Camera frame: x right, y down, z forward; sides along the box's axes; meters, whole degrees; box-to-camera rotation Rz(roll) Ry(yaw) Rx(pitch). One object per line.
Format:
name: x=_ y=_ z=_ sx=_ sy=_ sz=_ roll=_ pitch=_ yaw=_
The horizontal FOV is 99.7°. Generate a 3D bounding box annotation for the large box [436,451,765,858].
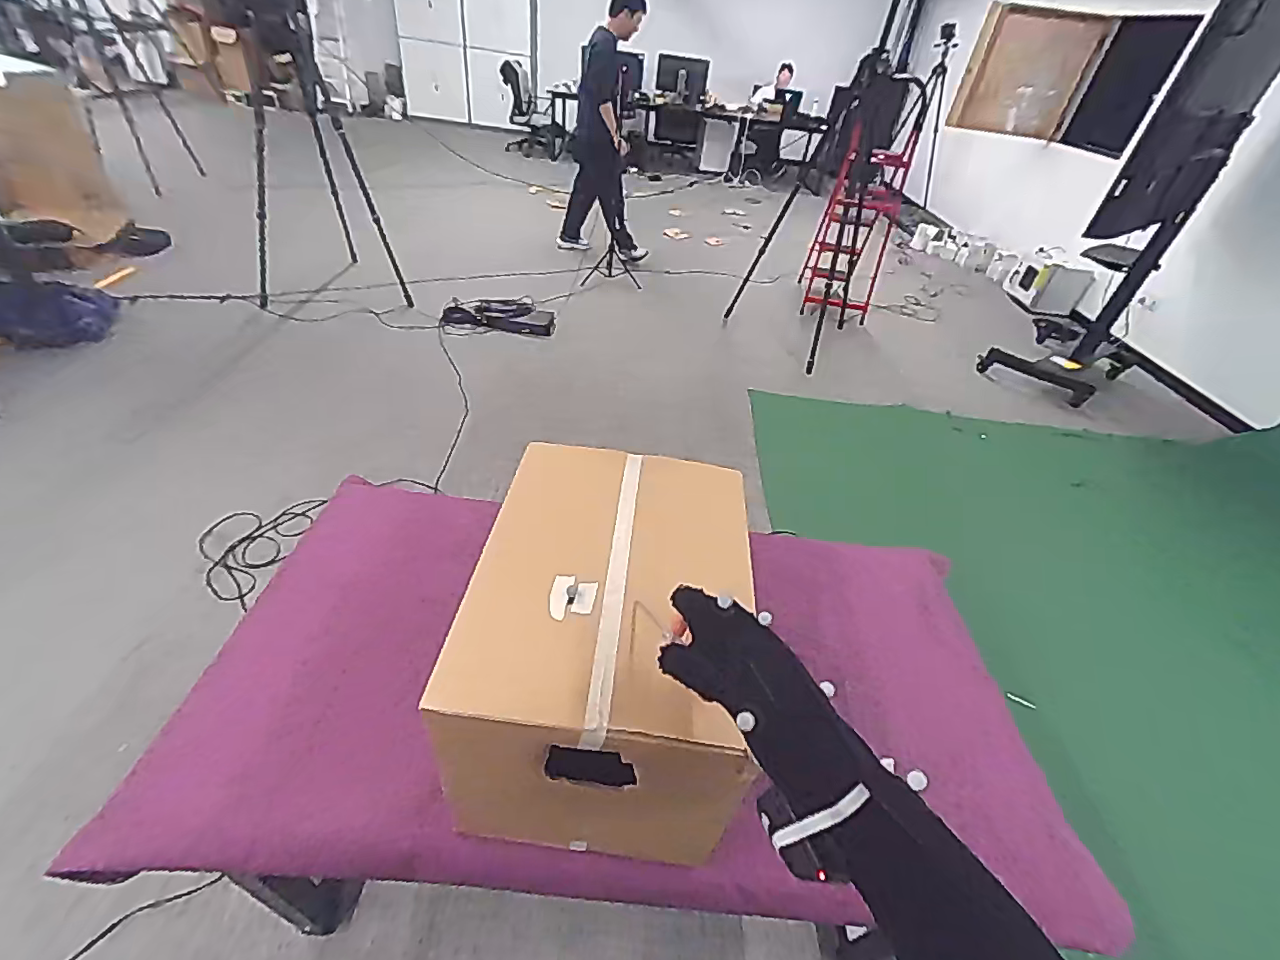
large box: x=-0.041 y=0.218 z=0.736 sx=0.320 sy=0.320 sz=0.408 roll=8 pitch=40 yaw=0
